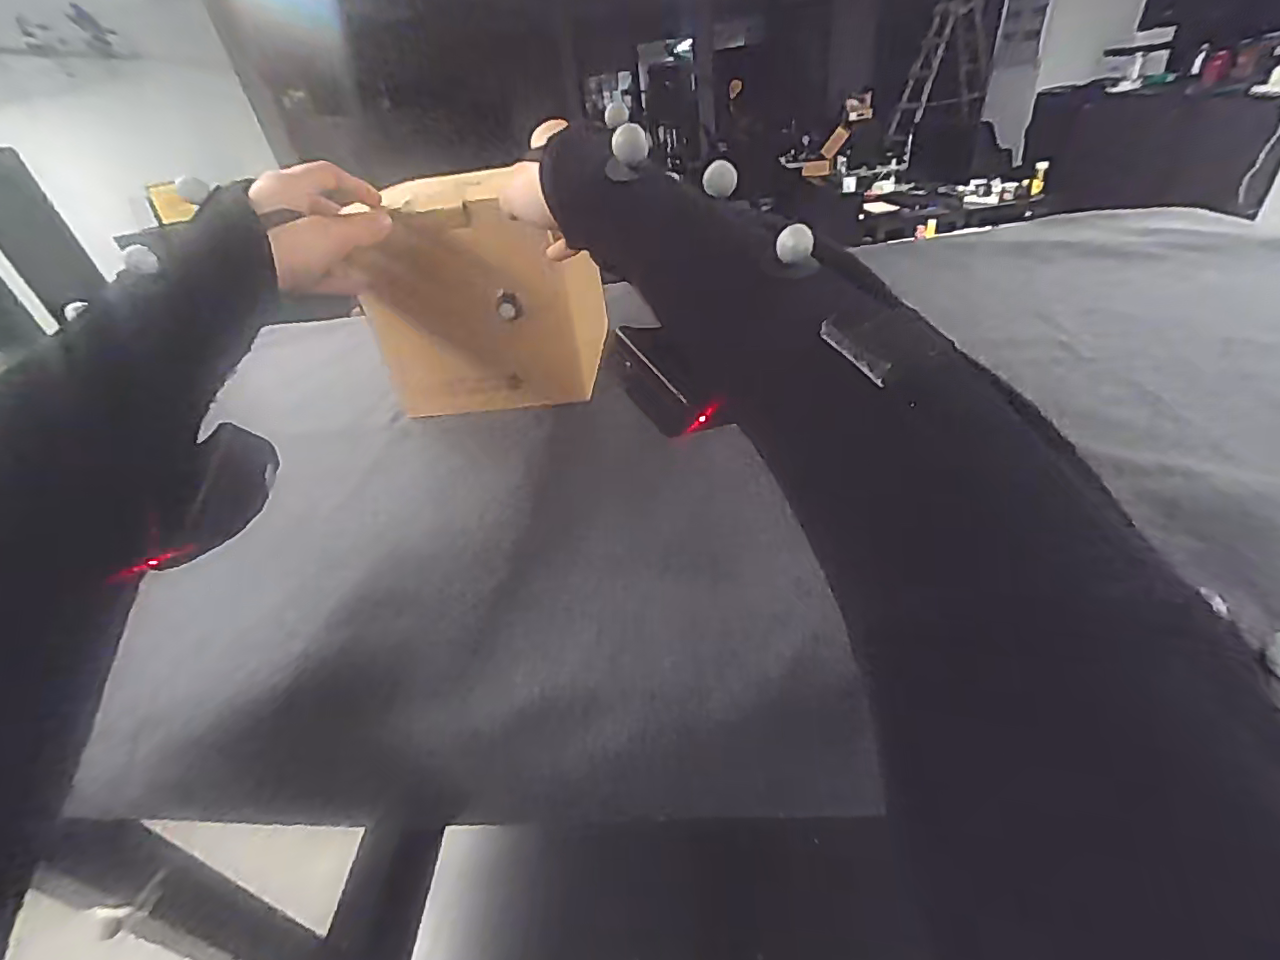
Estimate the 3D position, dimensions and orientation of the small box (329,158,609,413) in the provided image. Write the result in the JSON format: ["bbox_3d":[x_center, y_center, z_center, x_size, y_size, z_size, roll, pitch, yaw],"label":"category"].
[{"bbox_3d":[-0.125,-0.170,0.484,0.168,0.176,0.179,-4,37,6],"label":"small box"}]
